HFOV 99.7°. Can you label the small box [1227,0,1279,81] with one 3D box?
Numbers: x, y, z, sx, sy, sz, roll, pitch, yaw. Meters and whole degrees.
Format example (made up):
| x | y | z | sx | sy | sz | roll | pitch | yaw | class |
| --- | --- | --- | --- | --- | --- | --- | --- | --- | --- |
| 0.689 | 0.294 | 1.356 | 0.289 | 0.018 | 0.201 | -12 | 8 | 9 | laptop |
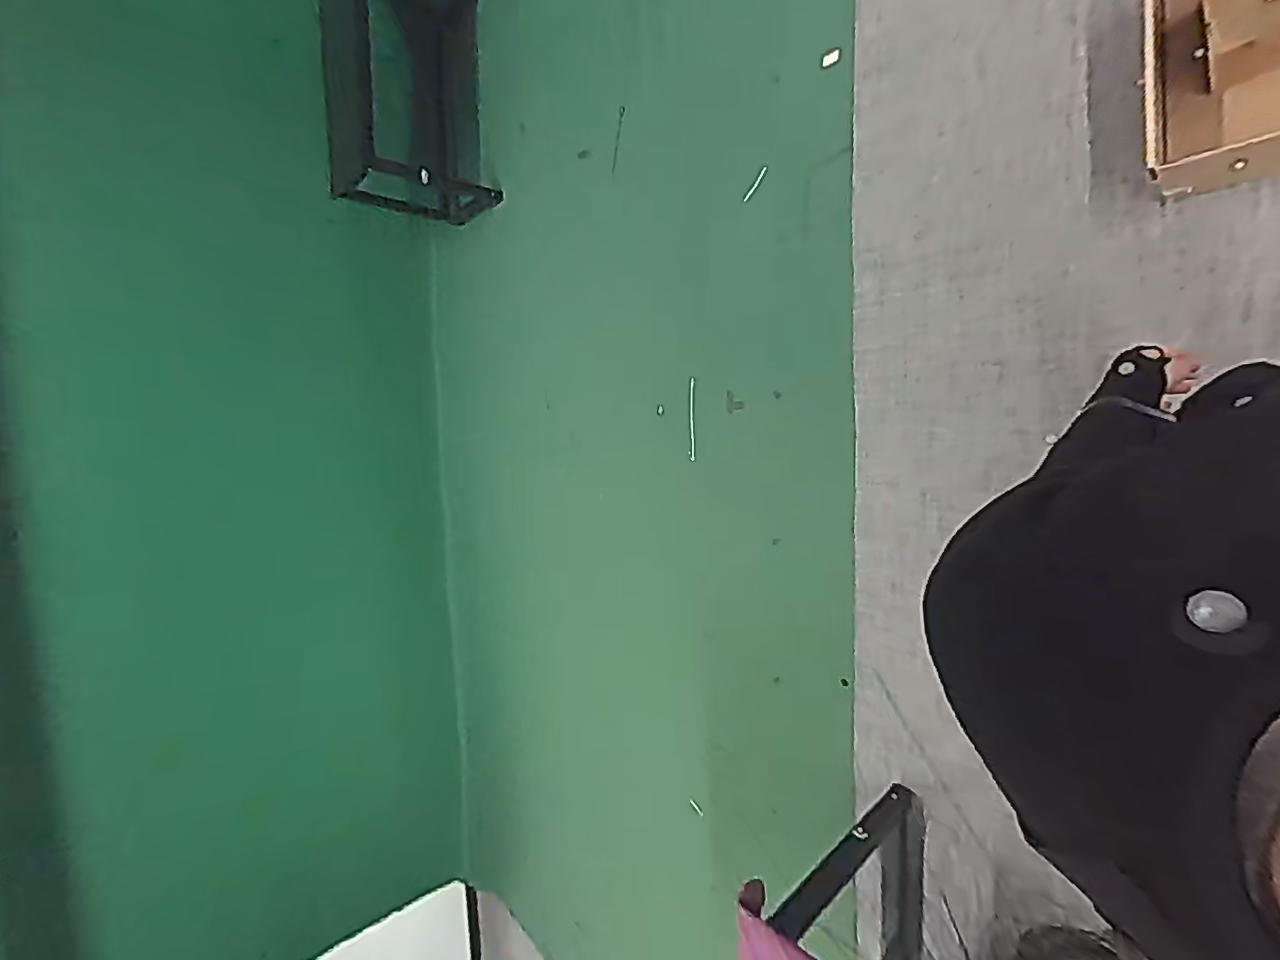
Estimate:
| x | y | z | sx | sy | sz | roll | pitch | yaw | class |
| --- | --- | --- | --- | --- | --- | --- | --- | --- | --- |
| 1.067 | -0.789 | 0.860 | 0.179 | 0.176 | 0.168 | -4 | 93 | 48 | small box |
